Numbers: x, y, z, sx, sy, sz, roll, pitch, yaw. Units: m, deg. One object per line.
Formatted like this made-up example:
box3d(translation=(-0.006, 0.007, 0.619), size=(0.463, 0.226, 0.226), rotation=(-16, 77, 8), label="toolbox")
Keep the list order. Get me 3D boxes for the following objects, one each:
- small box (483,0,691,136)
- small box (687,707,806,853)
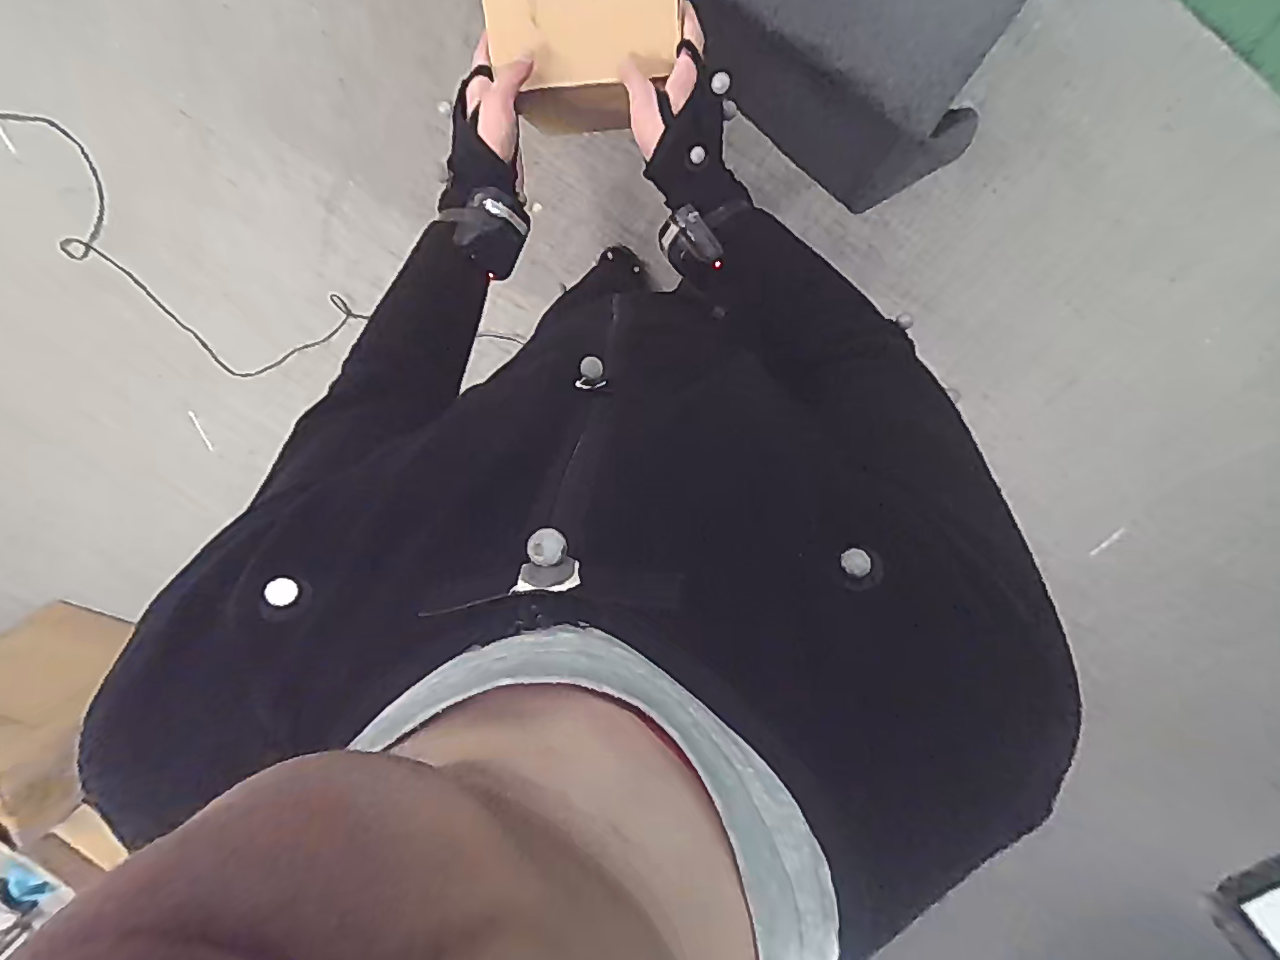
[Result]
box3d(translation=(-0.042, -0.451, 0.520), size=(0.179, 0.176, 0.168), rotation=(-2, 109, 7), label="small box")
box3d(translation=(0.215, 0.618, 1.126), size=(0.168, 0.176, 0.179), rotation=(33, 112, -8), label="small box")
